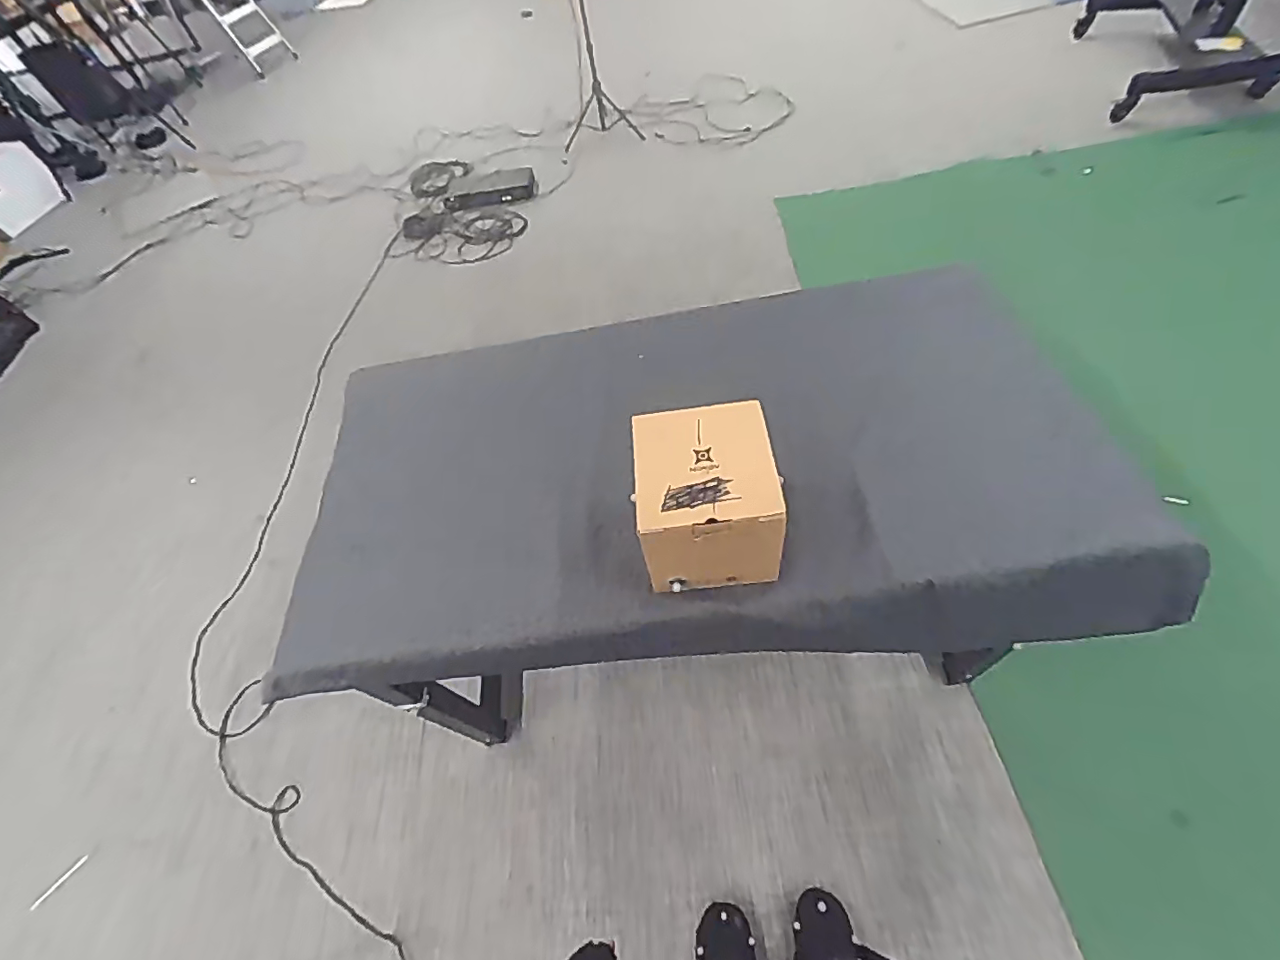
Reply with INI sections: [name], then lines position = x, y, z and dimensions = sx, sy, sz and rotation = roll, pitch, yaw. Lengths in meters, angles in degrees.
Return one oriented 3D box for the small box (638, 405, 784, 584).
[small box]
position = 0.090, 0.028, 0.716
dimensions = 0.168, 0.176, 0.179
rotation = -6, 54, 5
